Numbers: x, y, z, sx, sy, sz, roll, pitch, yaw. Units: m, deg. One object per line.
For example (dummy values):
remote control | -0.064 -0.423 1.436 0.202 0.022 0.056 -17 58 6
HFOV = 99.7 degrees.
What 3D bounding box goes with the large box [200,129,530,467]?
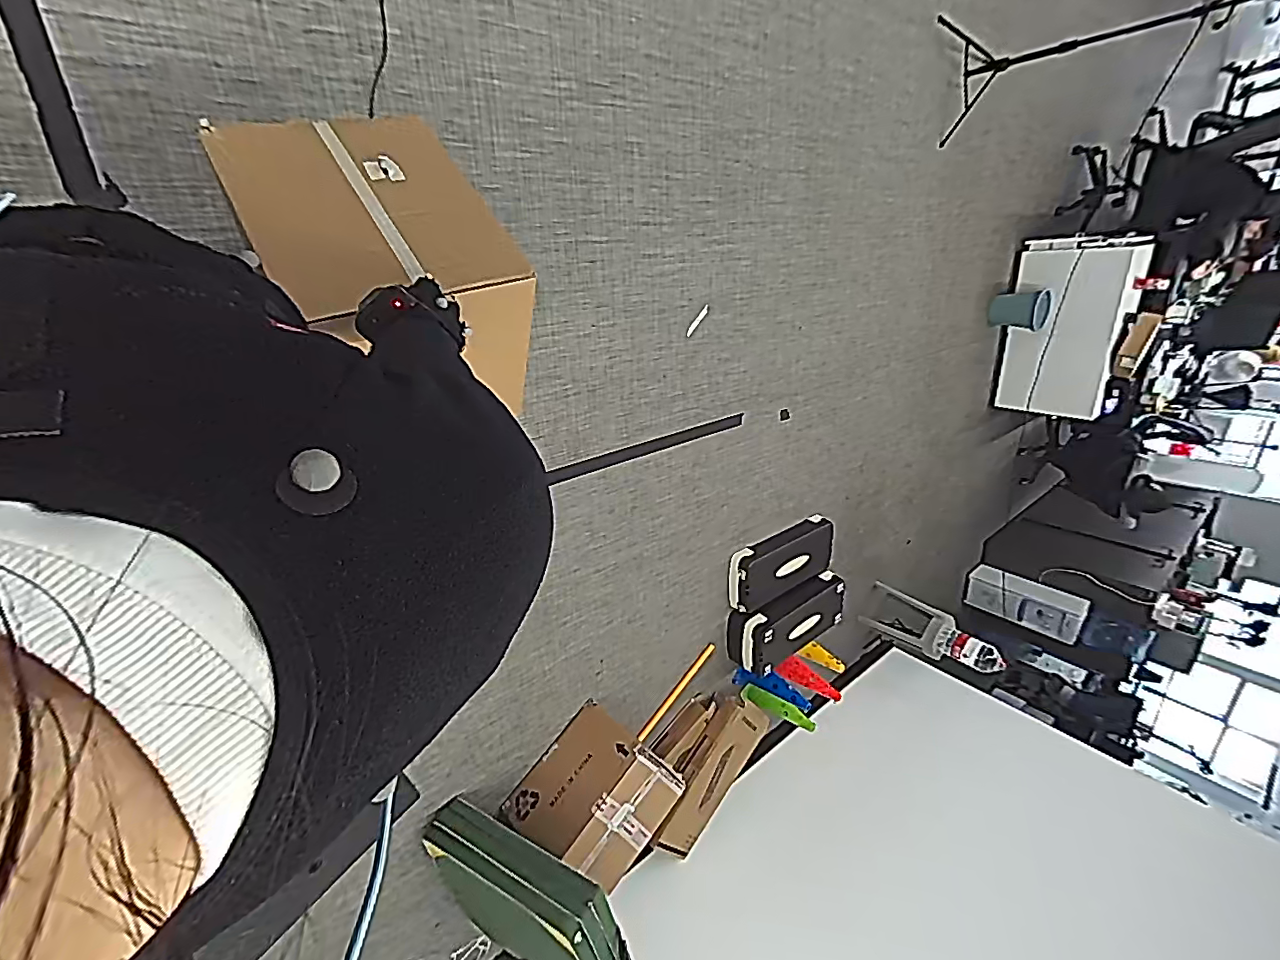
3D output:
large box | -0.421 -0.299 0.886 0.320 0.408 0.320 -25 157 -30
